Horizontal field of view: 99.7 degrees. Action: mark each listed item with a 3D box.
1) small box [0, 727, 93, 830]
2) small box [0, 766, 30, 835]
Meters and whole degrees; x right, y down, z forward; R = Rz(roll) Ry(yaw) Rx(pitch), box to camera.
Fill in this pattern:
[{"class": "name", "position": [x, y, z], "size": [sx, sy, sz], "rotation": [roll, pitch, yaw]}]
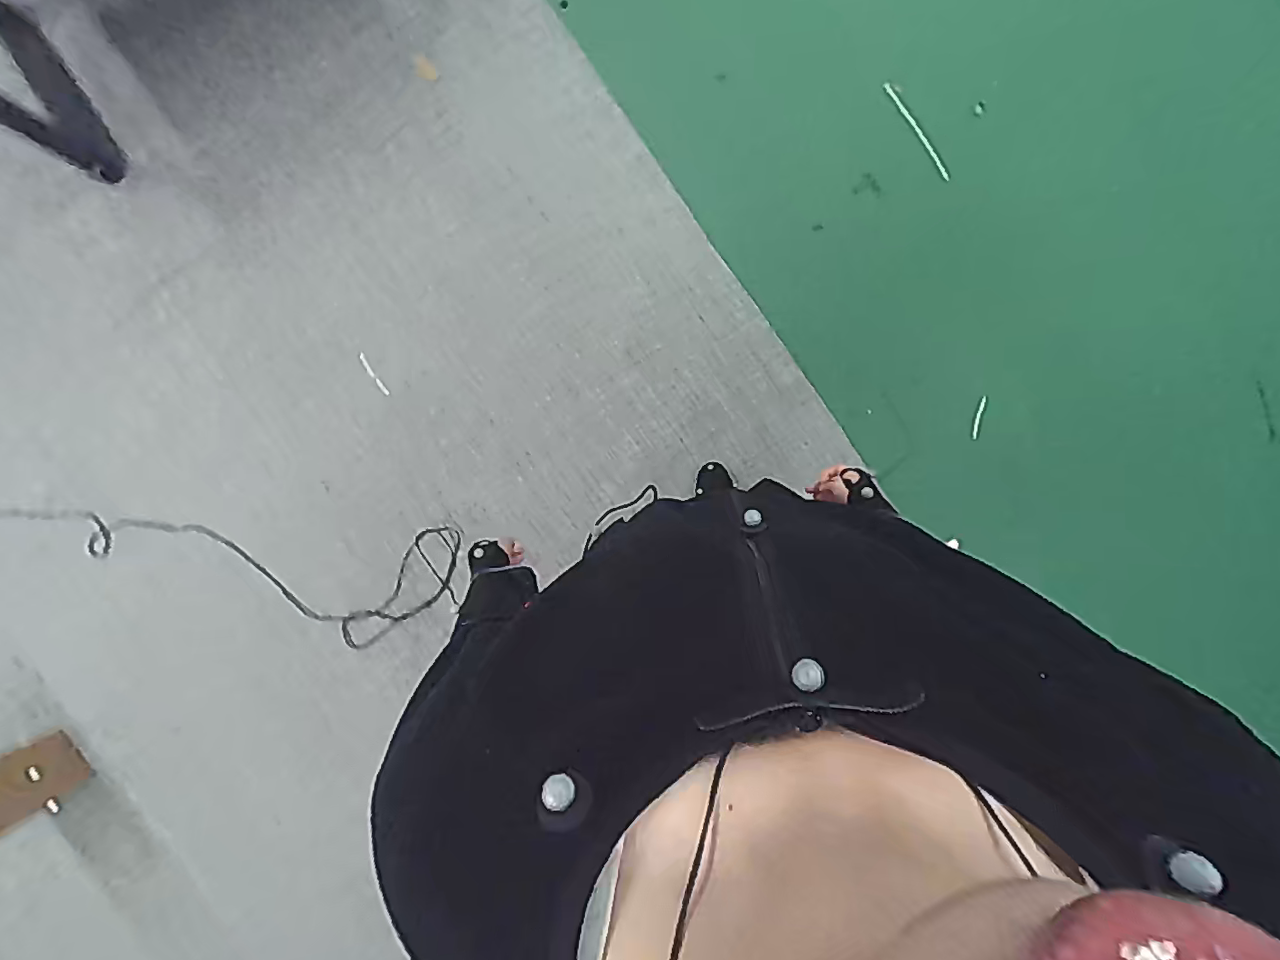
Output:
[{"class": "small box", "position": [-1.639, 0.803, 1.440], "size": [0.168, 0.176, 0.179], "rotation": [-35, 90, 0]}, {"class": "small box", "position": [-1.634, 0.811, 1.276], "size": [0.168, 0.176, 0.179], "rotation": [-35, 90, -1]}]
